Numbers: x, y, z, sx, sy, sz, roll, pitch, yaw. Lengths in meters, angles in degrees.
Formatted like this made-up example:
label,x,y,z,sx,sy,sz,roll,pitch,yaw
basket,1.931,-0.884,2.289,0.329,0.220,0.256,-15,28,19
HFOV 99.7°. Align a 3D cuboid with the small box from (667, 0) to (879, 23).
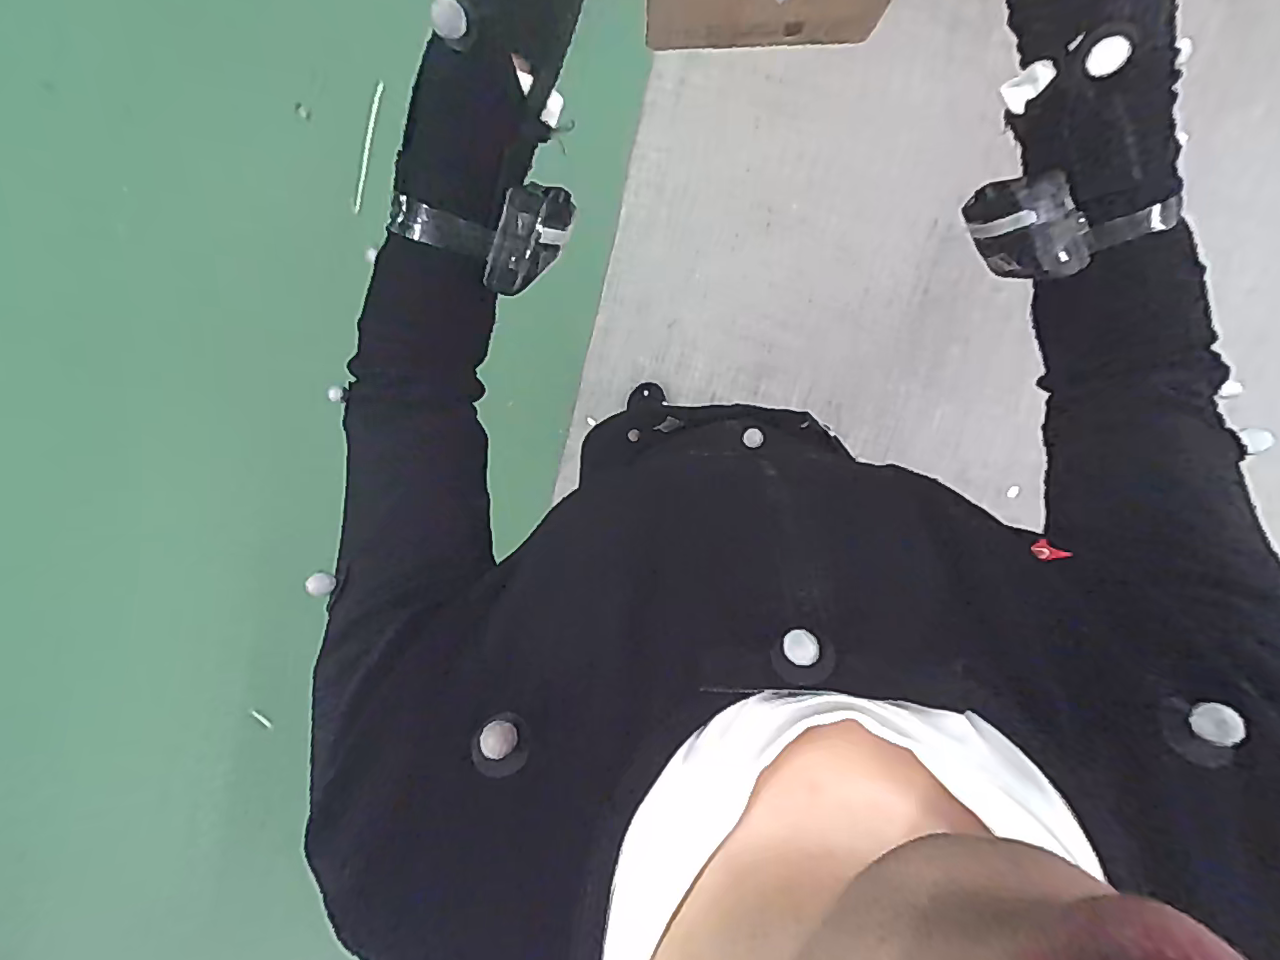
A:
label,x,y,z,sx,sy,sz,roll,pitch,yaw
small box,0.090,-0.402,0.305,0.168,0.176,0.179,-1,101,0
